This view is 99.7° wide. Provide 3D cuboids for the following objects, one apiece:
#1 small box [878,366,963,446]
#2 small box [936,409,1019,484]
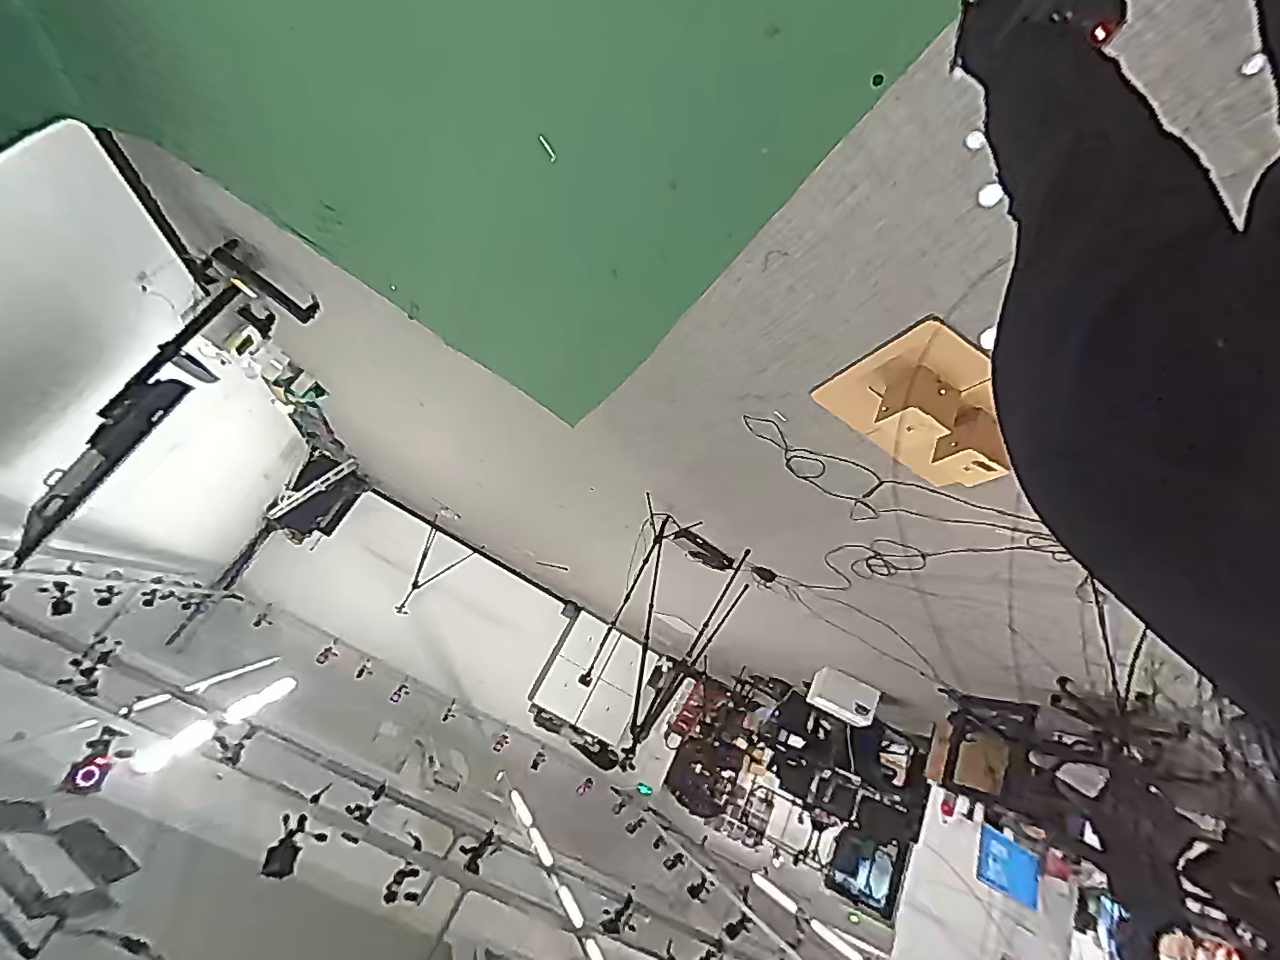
[{"bbox_3d":[0.946,-0.248,1.819,0.168,0.176,0.179,31,158,-10],"label":"small box"},{"bbox_3d":[1.158,-0.115,1.849,0.168,0.176,0.179,30,158,-5],"label":"small box"}]
